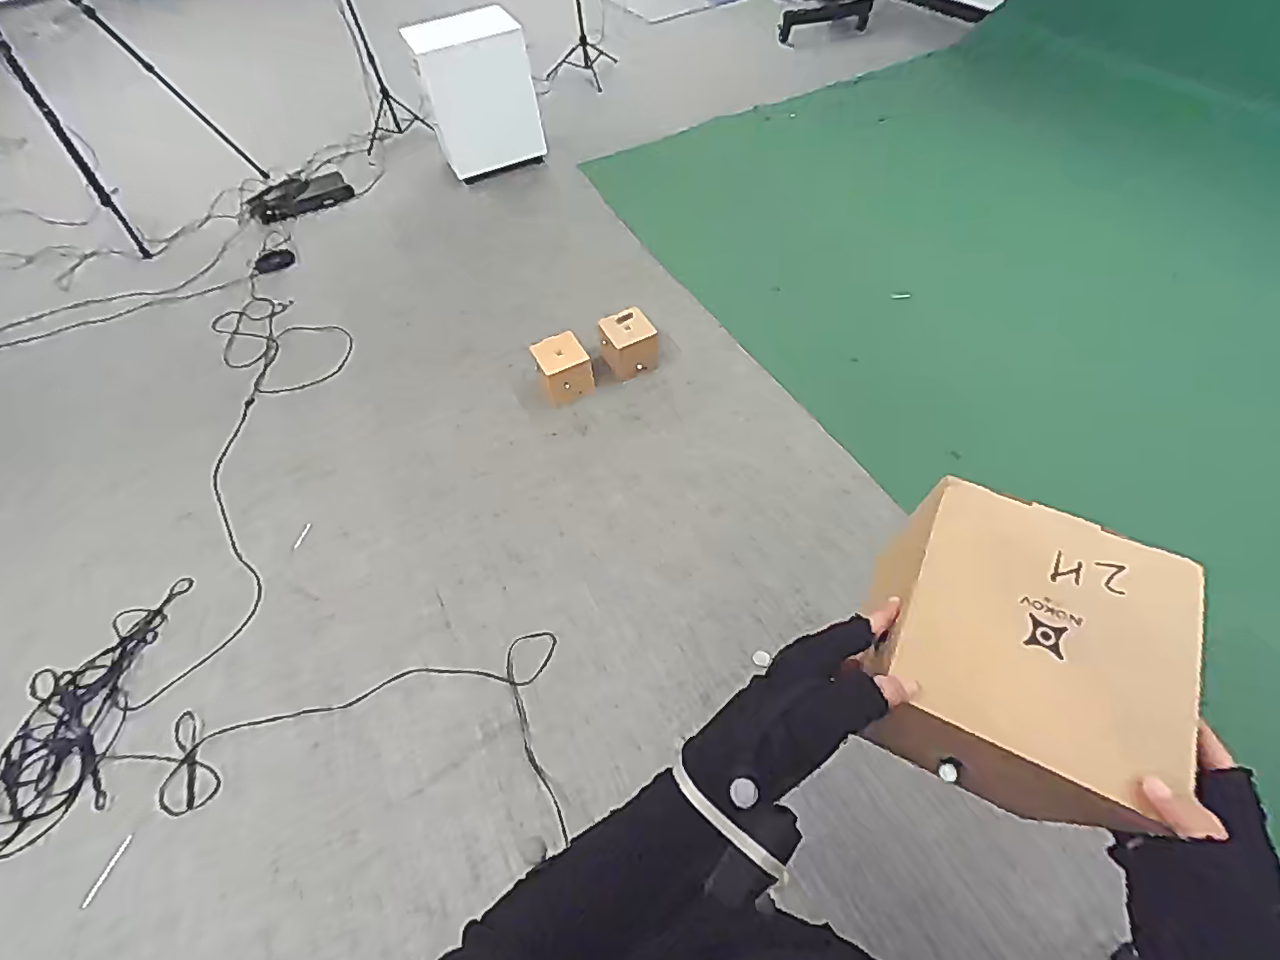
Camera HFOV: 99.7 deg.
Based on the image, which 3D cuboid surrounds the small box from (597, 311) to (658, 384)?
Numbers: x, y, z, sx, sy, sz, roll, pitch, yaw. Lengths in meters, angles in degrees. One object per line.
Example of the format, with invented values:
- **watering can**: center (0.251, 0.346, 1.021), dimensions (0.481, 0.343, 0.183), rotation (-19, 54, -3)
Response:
- **small box**: center (-0.045, -0.493, 2.016), dimensions (0.168, 0.176, 0.179), rotation (-25, 58, -13)

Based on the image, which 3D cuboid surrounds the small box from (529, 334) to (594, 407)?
- **small box**: center (-0.281, -0.389, 1.962), dimensions (0.168, 0.176, 0.179), rotation (-26, 57, -13)
